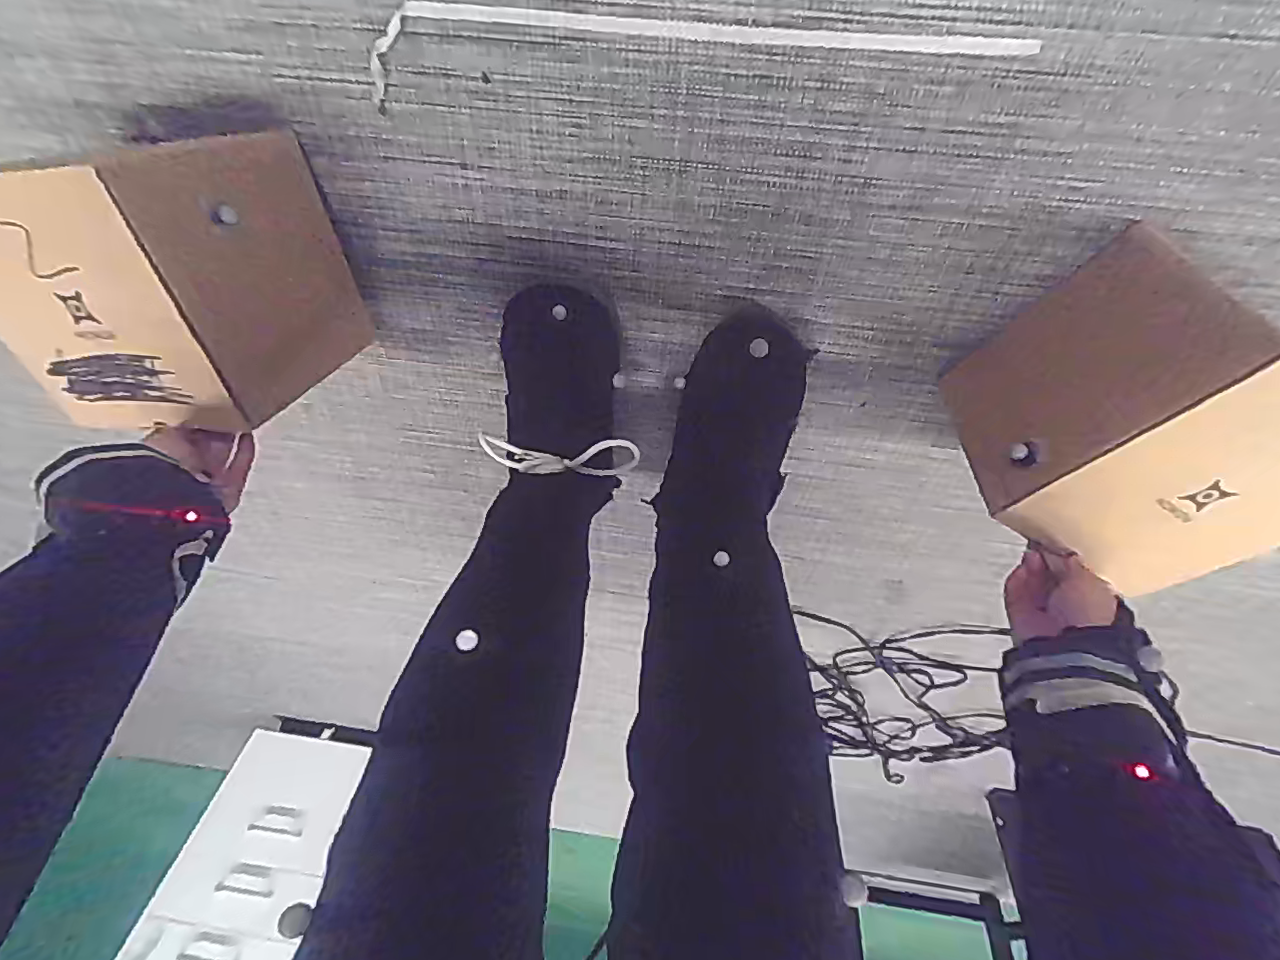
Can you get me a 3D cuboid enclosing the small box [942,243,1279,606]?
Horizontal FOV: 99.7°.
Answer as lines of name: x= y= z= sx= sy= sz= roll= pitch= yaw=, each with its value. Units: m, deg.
small box: x=0.368 y=-0.038 z=0.405 sx=0.168 sy=0.176 sz=0.179 roll=26 pitch=135 yaw=-15
